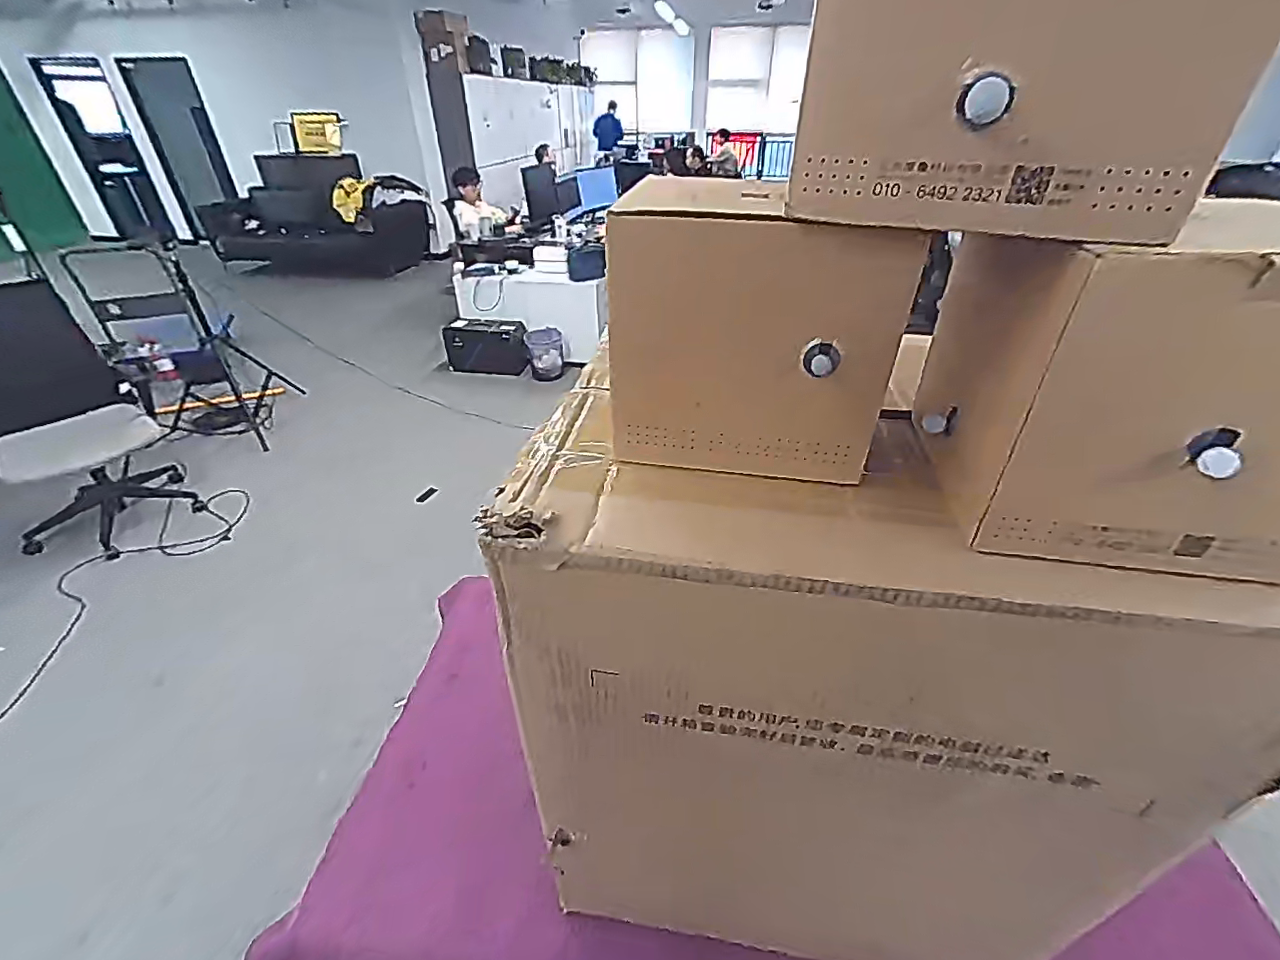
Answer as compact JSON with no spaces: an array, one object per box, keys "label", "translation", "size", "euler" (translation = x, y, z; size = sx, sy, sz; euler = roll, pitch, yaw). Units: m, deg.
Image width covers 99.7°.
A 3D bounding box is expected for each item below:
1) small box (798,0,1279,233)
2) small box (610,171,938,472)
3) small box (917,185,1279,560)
[{"label":"small box","translation":[0.185,-0.233,0.272],"size":[0.168,0.176,0.179],"euler":[13,37,18]},{"label":"small box","translation":[0.080,-0.120,0.397],"size":[0.179,0.176,0.168],"euler":[5,34,7]},{"label":"small box","translation":[0.290,-0.072,0.327],"size":[0.168,0.176,0.179],"euler":[5,34,10]}]
